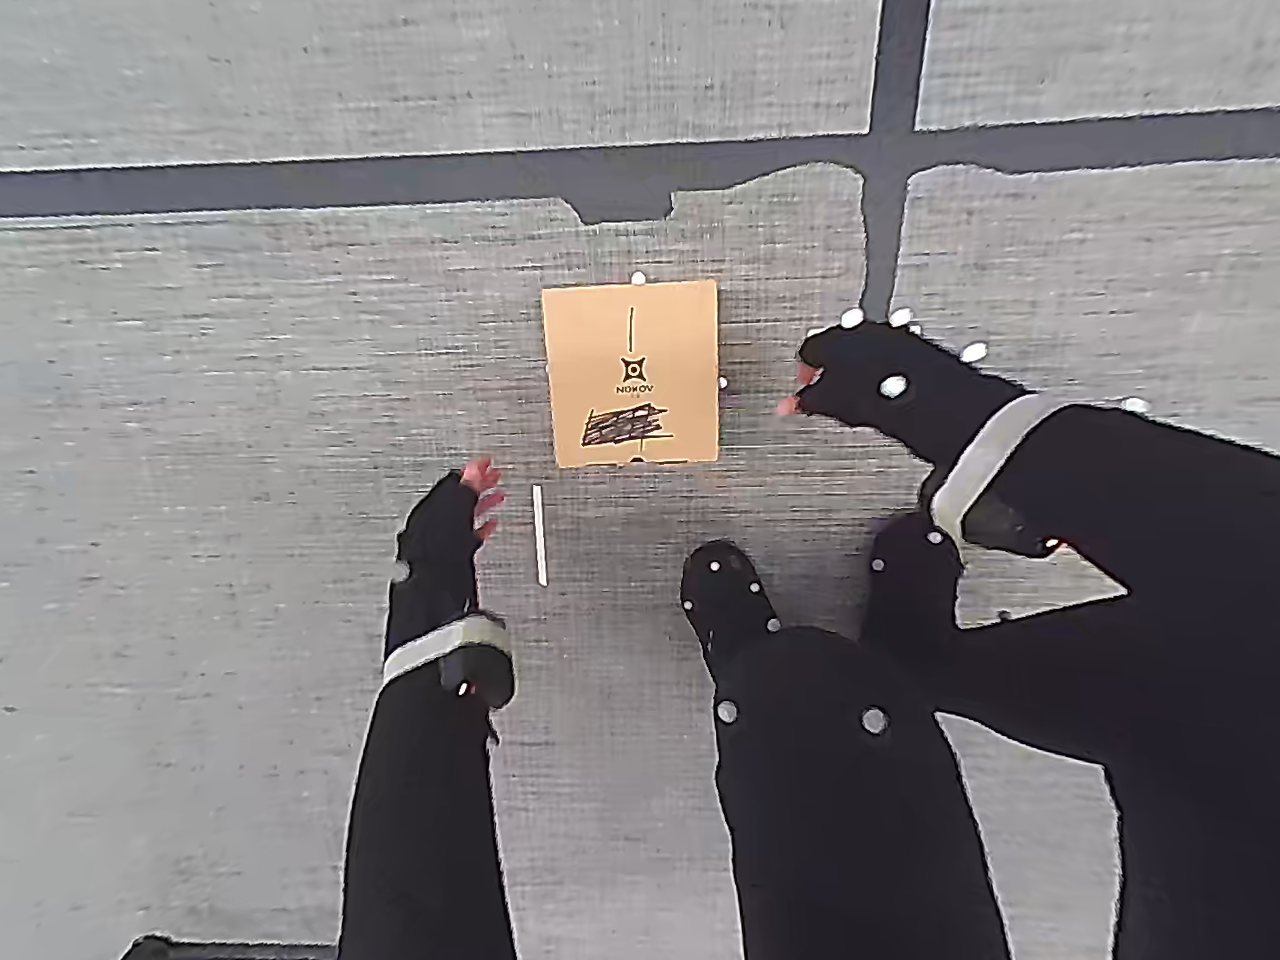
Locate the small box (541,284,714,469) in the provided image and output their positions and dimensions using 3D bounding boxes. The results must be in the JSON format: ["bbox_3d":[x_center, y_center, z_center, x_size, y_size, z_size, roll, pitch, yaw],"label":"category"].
[{"bbox_3d":[-0.005,-0.119,0.602,0.168,0.176,0.179,-2,106,3],"label":"small box"}]
